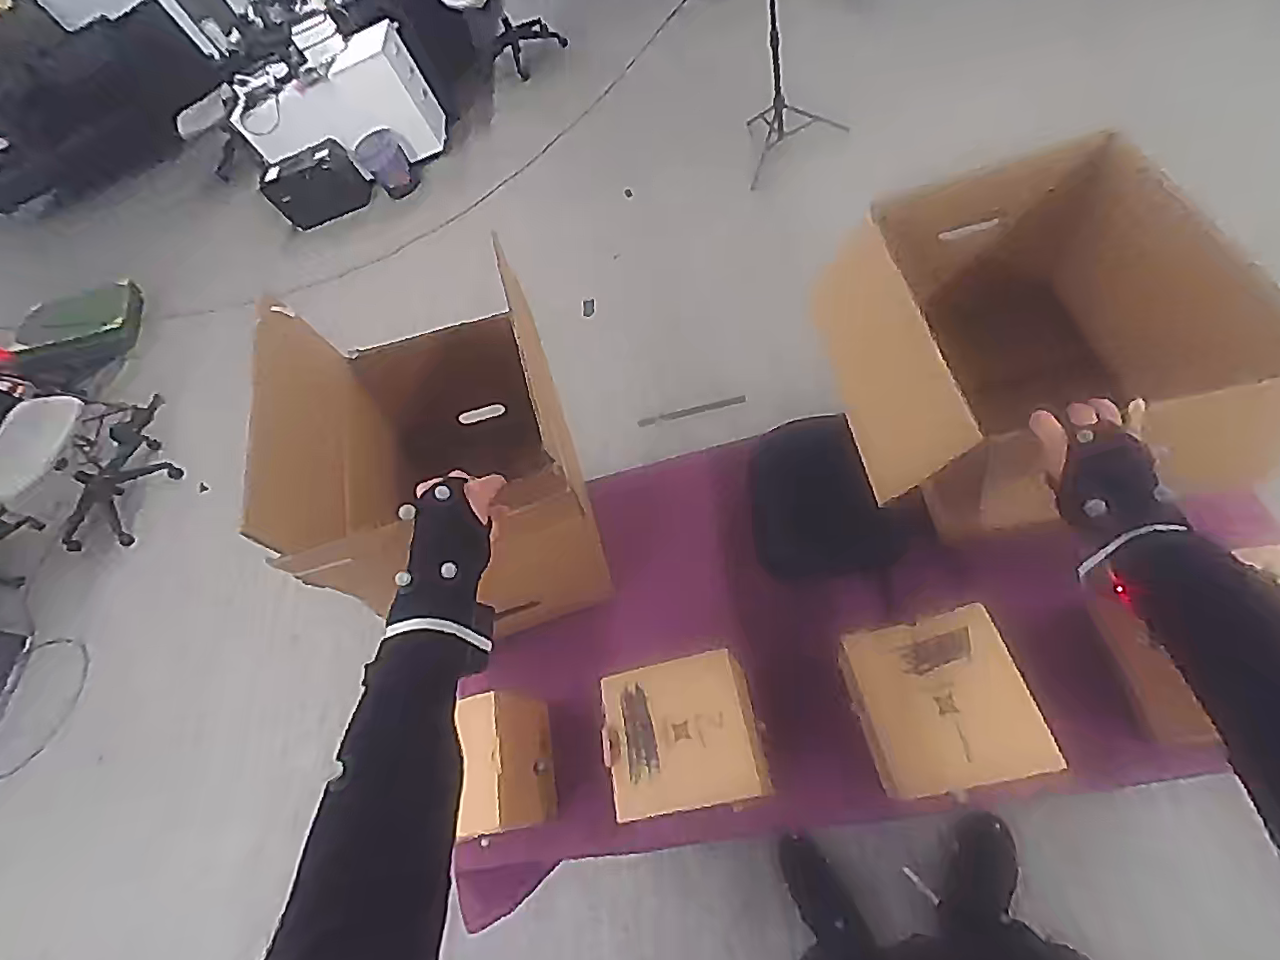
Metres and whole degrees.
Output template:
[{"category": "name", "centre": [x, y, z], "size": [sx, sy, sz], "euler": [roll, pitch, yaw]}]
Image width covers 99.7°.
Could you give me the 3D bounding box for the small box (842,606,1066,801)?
[{"category": "small box", "centre": [0.354, 0.276, 0.657], "size": [0.168, 0.176, 0.179], "euler": [-18, 59, 10]}]

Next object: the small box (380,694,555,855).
[{"category": "small box", "centre": [-0.242, 0.427, 0.785], "size": [0.179, 0.176, 0.168], "euler": [-18, 58, 8]}]
